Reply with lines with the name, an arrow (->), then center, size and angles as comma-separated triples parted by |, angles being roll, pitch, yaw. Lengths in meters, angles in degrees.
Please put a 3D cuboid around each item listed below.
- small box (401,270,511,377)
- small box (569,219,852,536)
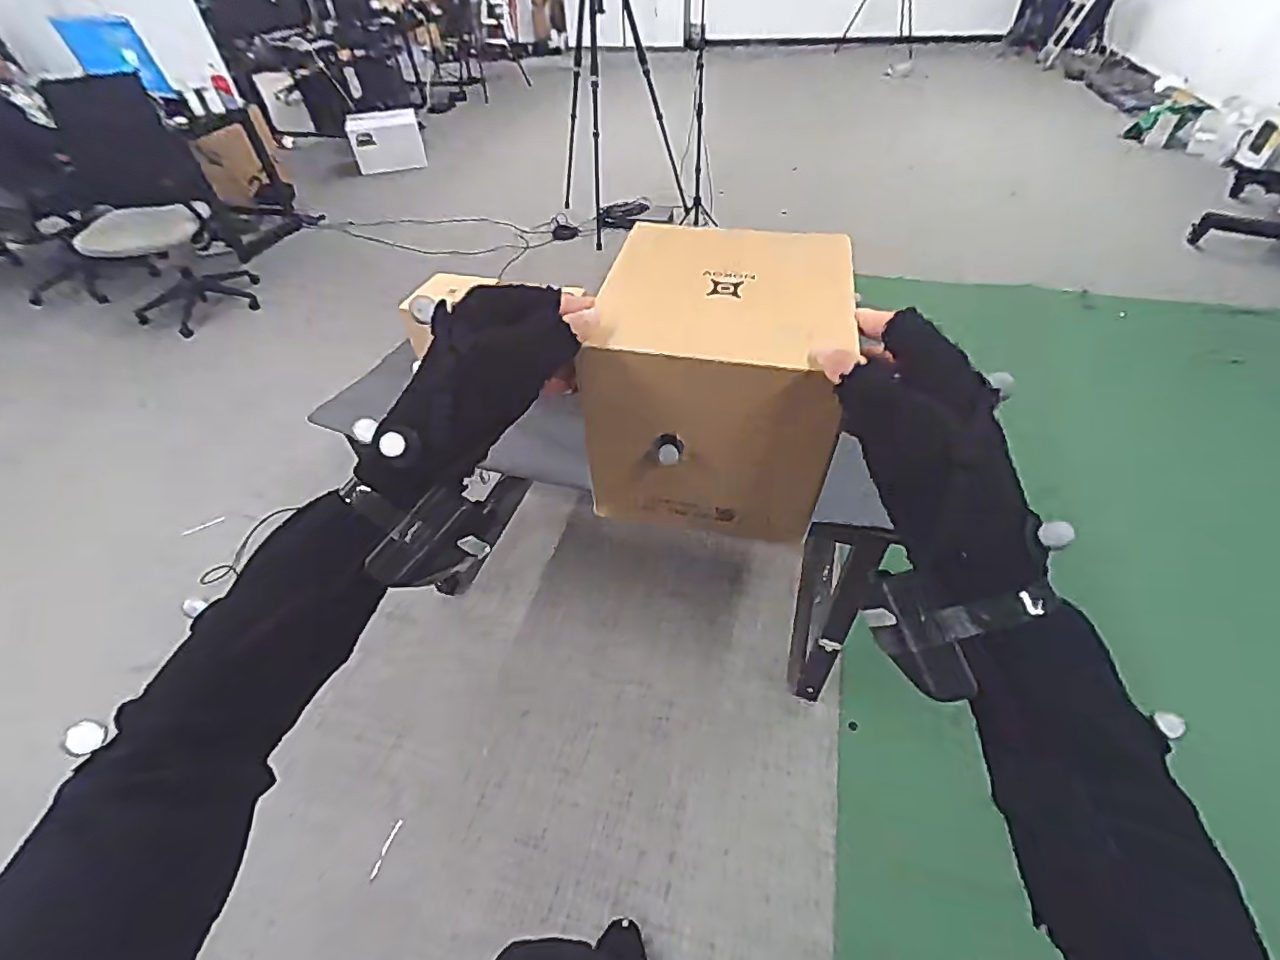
small box -> -0.417, -0.367, 1.267 | 0.168, 0.176, 0.179 | 10, 48, 13
small box -> 0.058, -0.078, 0.418 | 0.168, 0.176, 0.179 | 8, 48, 10
